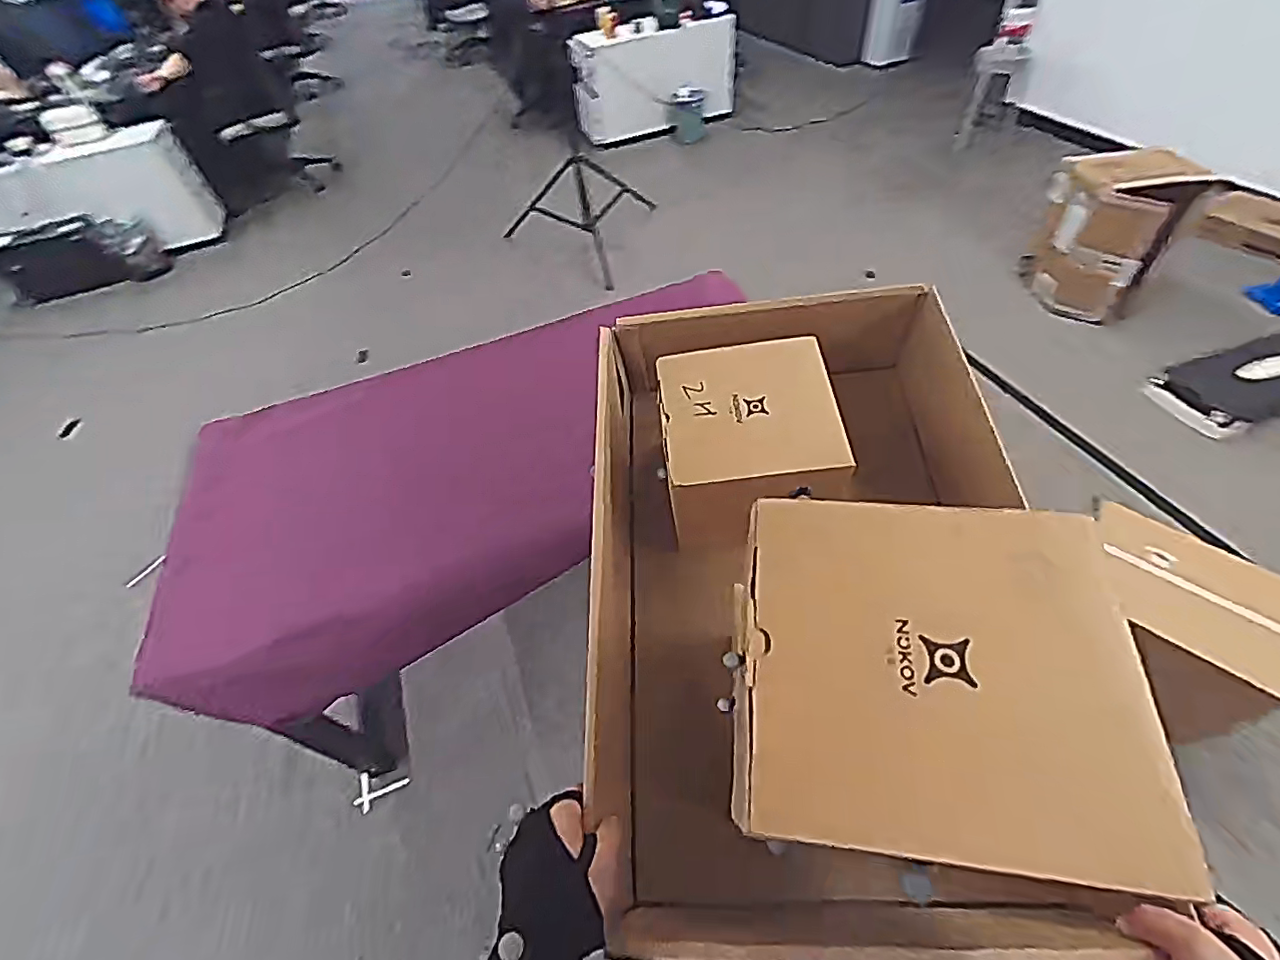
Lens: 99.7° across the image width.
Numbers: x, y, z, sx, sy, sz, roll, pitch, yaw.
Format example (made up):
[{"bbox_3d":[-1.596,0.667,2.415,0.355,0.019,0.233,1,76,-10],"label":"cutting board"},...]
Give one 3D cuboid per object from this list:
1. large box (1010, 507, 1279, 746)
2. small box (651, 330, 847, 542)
[{"bbox_3d":[1.213,0.343,1.292,0.408,0.320,0.320,33,60,30],"label":"large box"},{"bbox_3d":[0.111,-0.042,0.614,0.179,0.176,0.168,-7,59,4],"label":"small box"}]
